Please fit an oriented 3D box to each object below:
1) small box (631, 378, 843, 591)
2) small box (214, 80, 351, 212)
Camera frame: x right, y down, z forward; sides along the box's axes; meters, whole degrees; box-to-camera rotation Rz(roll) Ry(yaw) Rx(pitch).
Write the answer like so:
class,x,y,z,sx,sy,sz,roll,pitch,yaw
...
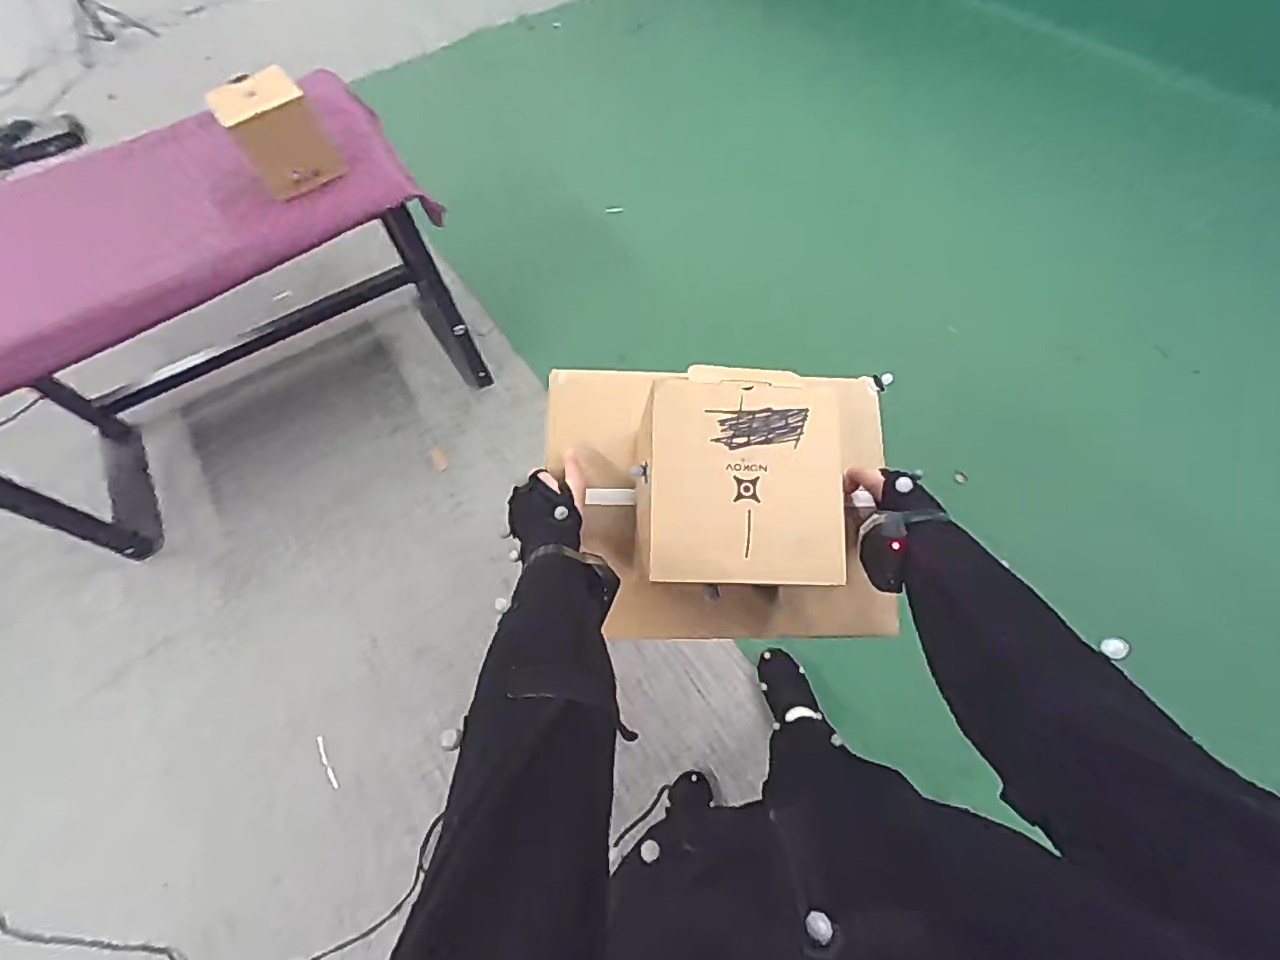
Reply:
class,x,y,z,sx,sy,sz,roll,pitch,yaw
small box,0.079,0.017,0.528,0.168,0.176,0.179,2,78,-4
small box,-0.779,-0.729,1.188,0.168,0.176,0.179,-34,63,-12
